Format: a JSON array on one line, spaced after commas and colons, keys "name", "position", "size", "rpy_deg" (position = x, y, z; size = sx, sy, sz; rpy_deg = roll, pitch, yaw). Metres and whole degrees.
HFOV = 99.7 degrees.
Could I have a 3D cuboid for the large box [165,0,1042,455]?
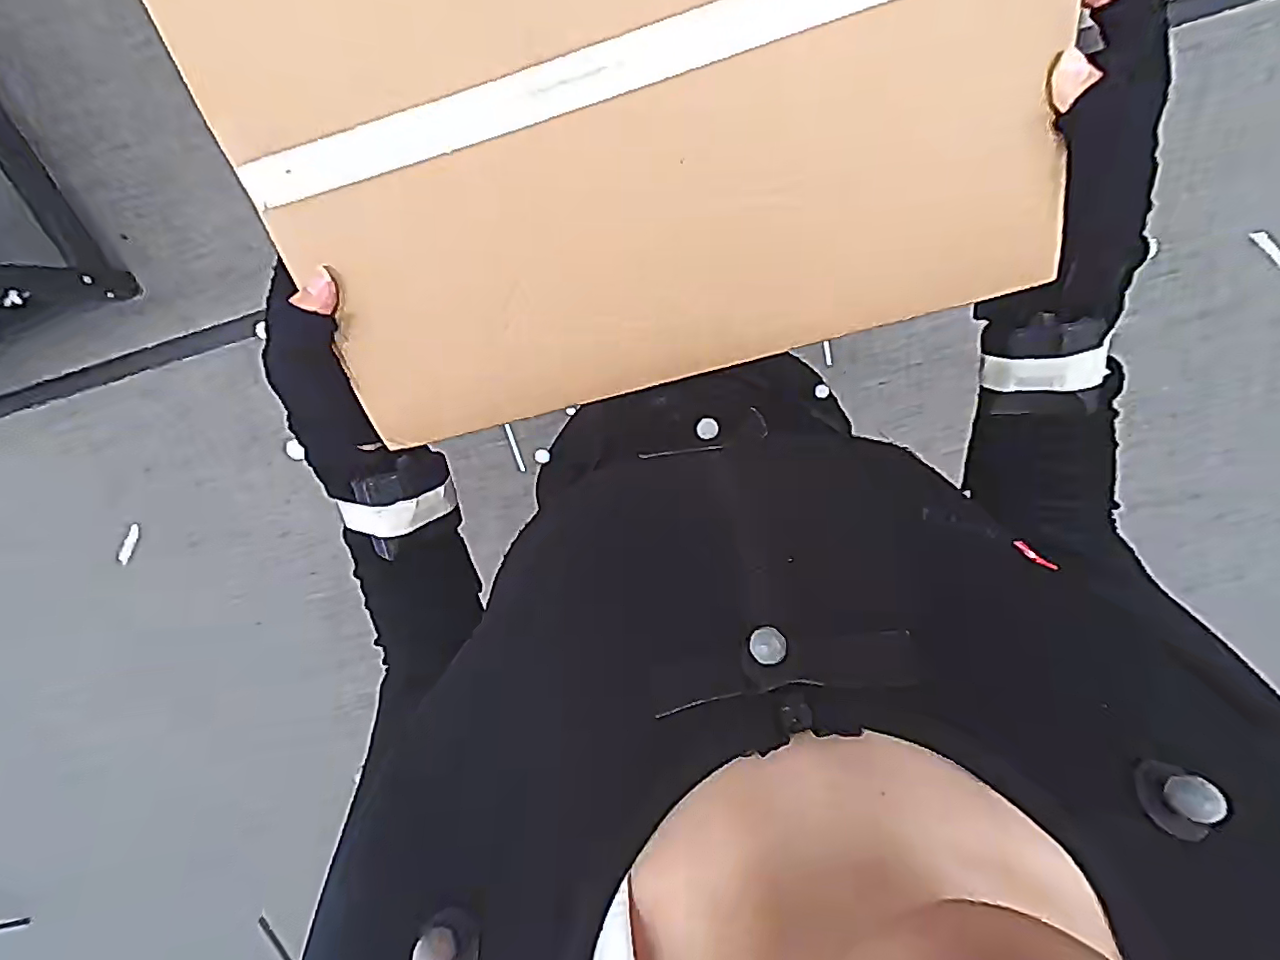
[{"name": "large box", "position": [-0.005, -0.263, 0.399], "size": [0.408, 0.320, 0.320], "rpy_deg": [-13, 116, 7]}]
